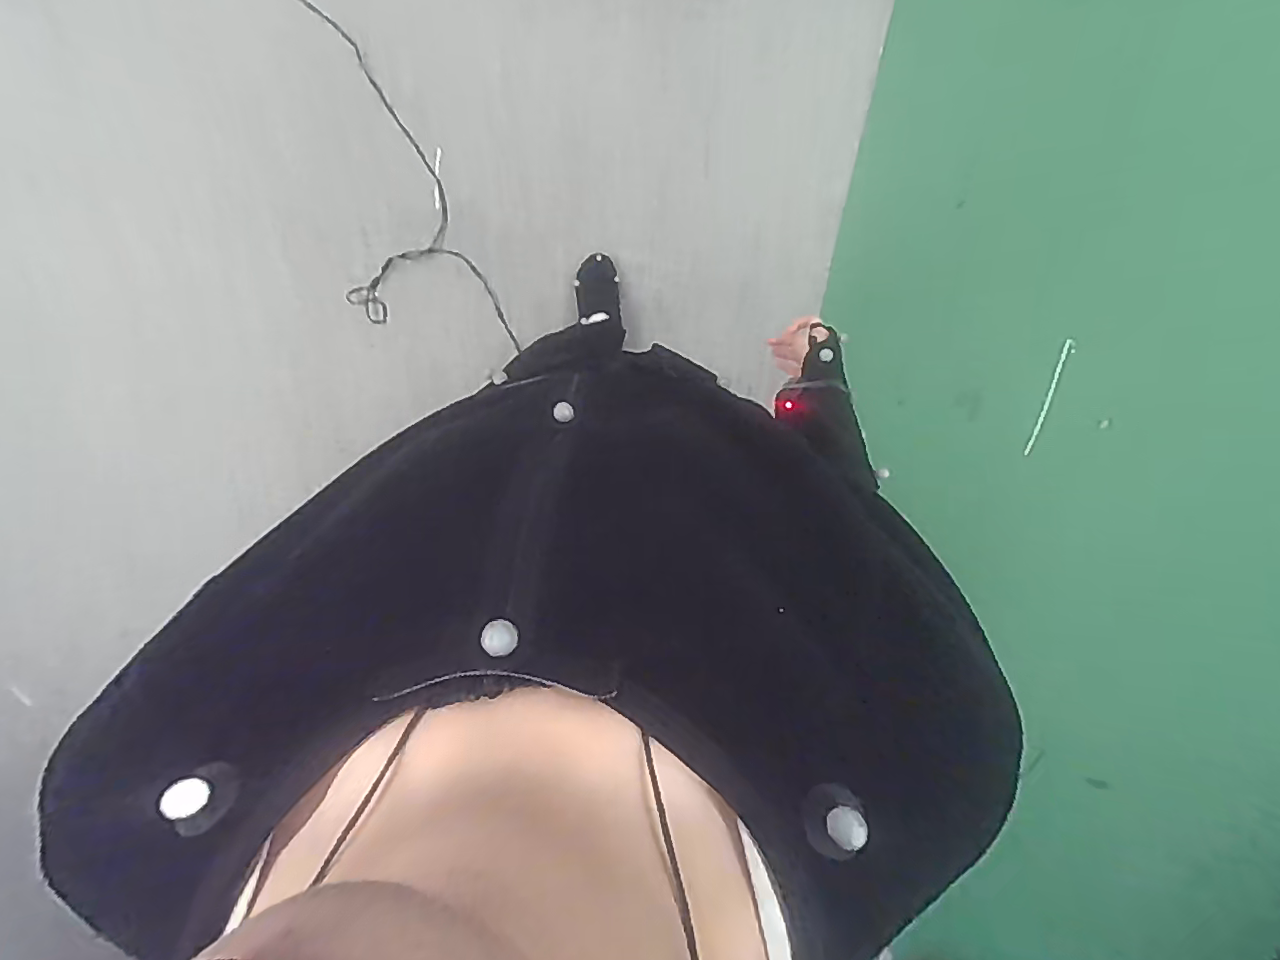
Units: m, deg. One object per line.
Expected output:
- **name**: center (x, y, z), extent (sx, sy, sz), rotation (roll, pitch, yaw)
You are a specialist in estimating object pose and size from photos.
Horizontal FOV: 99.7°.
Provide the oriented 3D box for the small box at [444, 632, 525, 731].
- **small box**: center (-0.400, 0.517, 1.409), extent (0.168, 0.176, 0.179), rotation (7, 107, -1)
